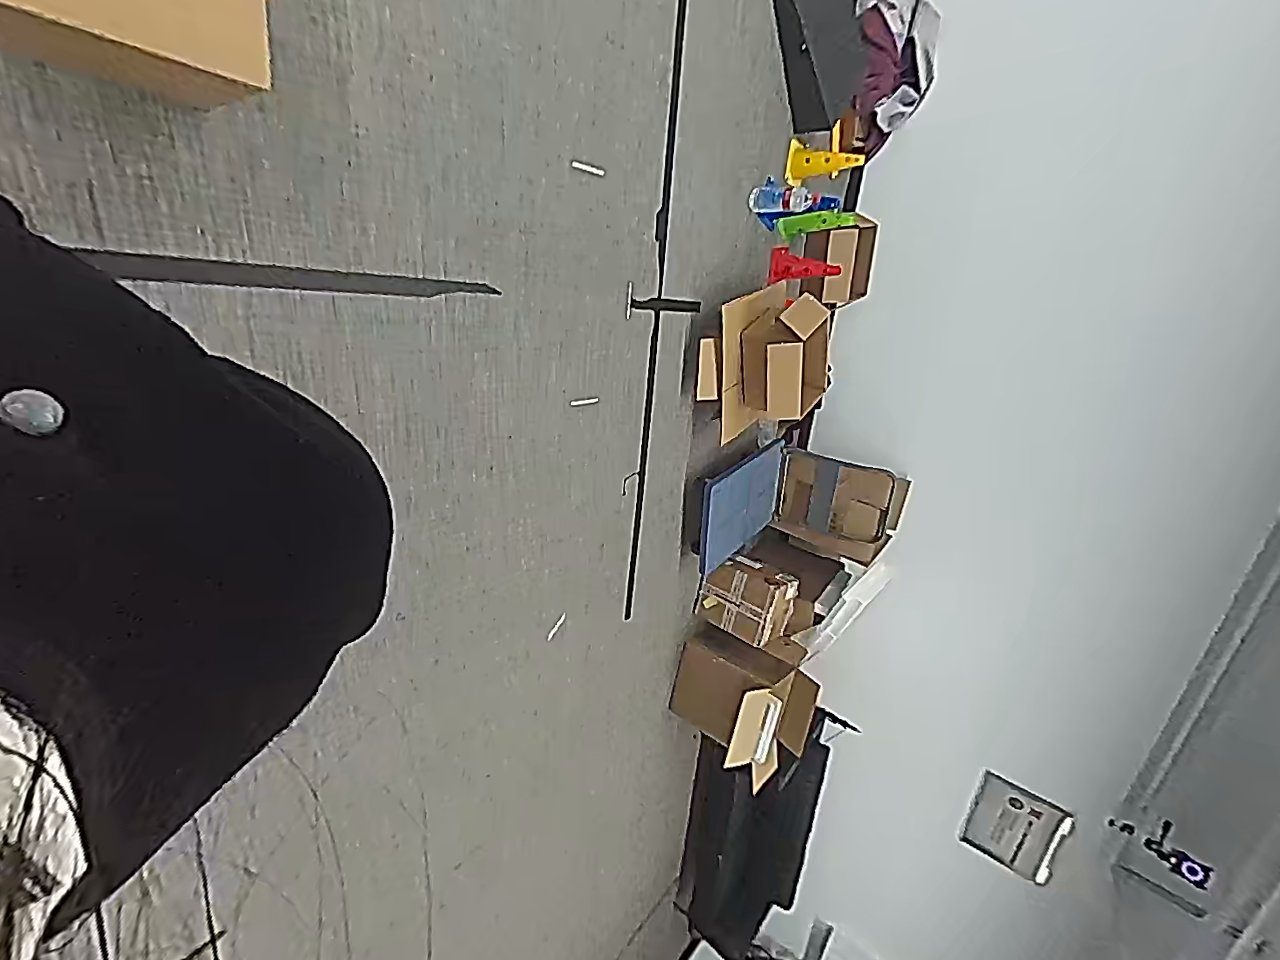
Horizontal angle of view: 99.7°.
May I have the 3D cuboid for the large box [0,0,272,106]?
[{"bbox_3d":[-0.833,-0.796,0.779,0.408,0.320,0.320,-16,120,-51],"label":"large box"}]
